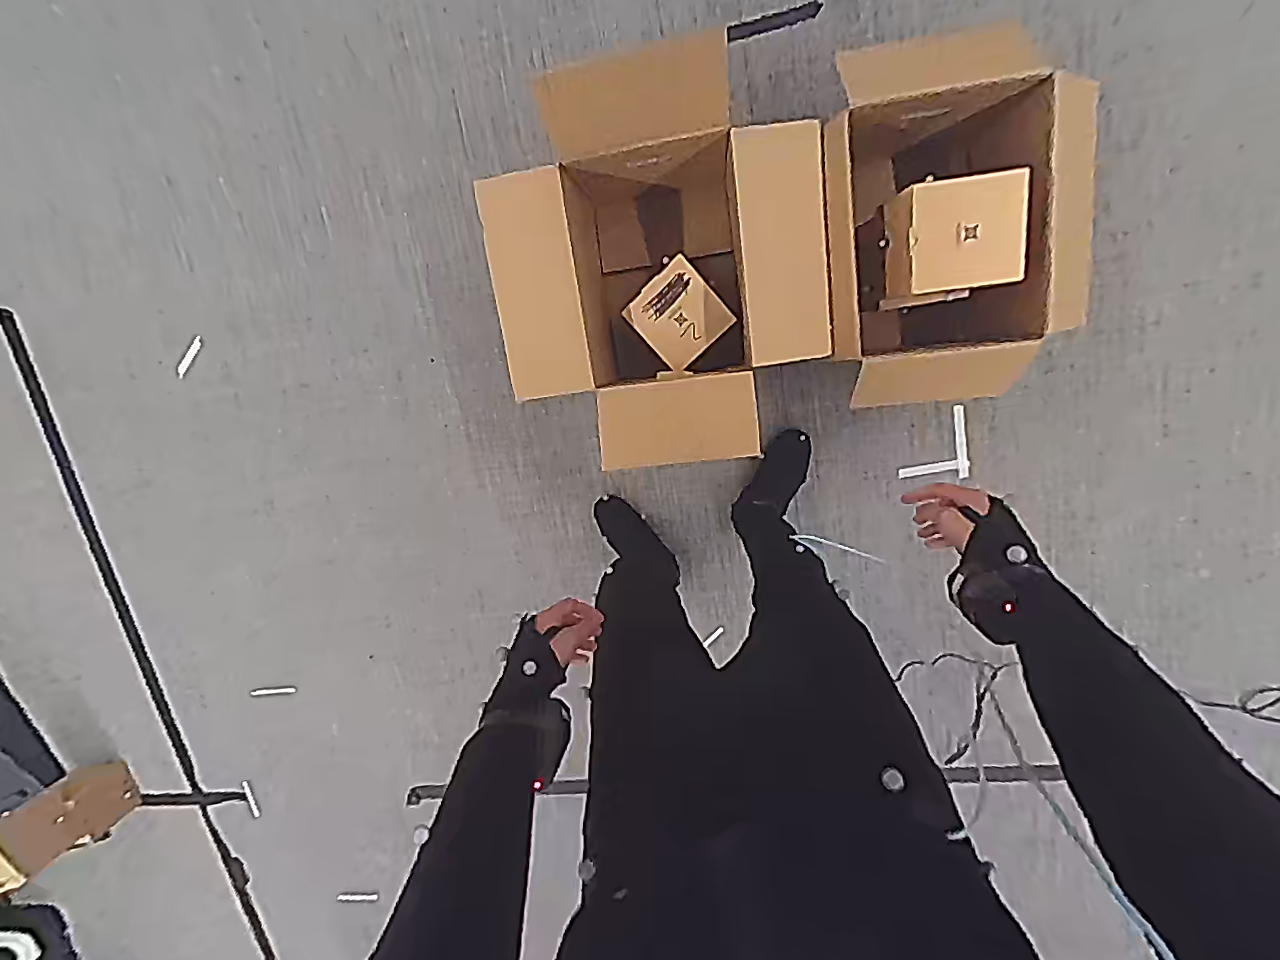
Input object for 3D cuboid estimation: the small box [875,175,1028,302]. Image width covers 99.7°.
[{"bbox_3d":[0.523,-0.403,0.931,0.179,0.176,0.168,-6,105,8],"label":"small box"}]
